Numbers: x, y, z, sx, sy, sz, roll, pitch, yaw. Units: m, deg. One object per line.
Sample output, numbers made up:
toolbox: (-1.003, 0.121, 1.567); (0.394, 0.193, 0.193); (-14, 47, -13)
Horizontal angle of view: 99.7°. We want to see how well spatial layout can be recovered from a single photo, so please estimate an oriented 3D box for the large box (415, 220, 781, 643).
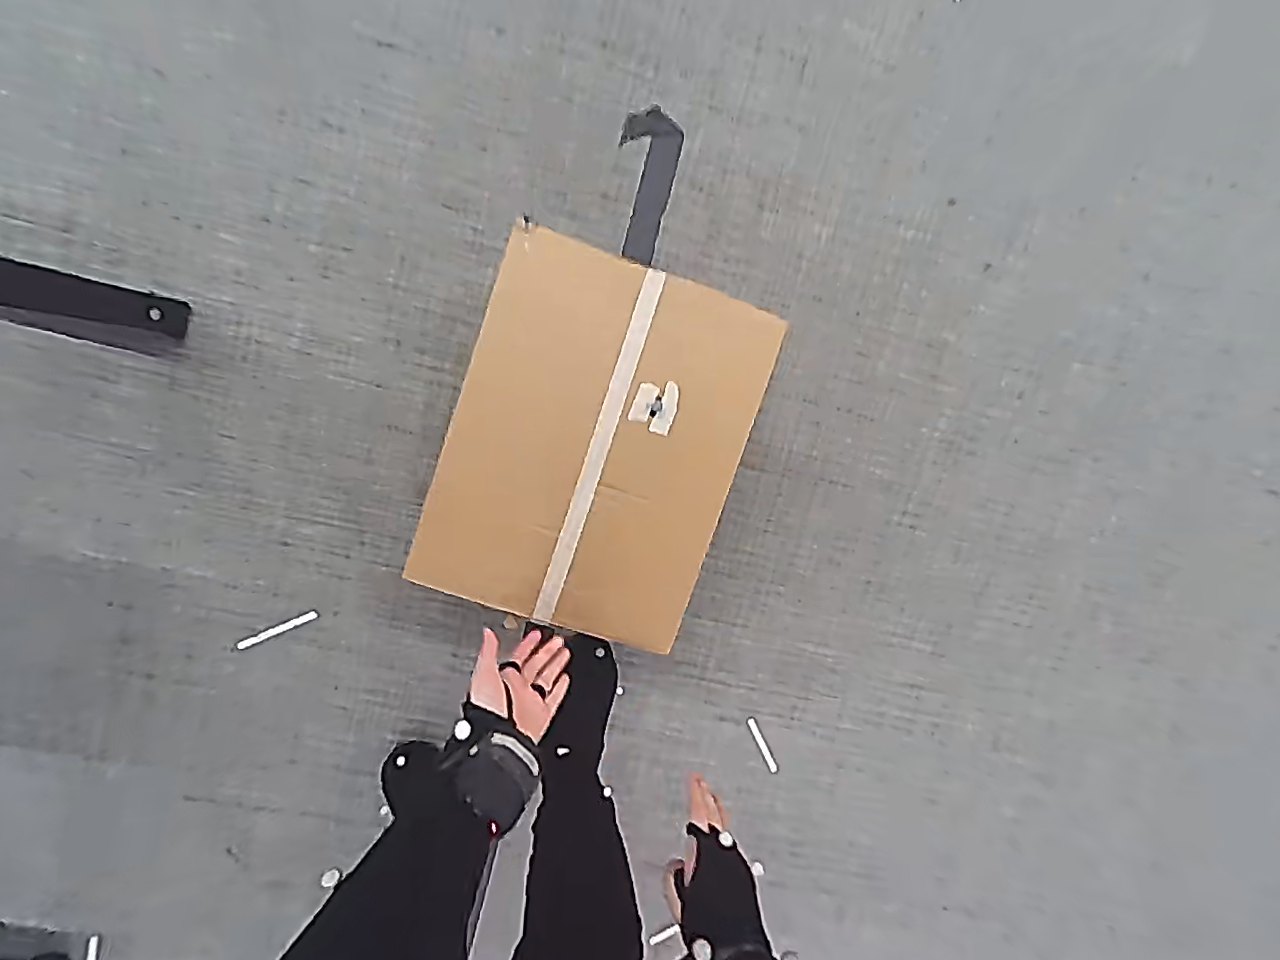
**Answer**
large box: (-0.058, -0.055, 0.744); (0.320, 0.320, 0.408); (18, 94, -8)
